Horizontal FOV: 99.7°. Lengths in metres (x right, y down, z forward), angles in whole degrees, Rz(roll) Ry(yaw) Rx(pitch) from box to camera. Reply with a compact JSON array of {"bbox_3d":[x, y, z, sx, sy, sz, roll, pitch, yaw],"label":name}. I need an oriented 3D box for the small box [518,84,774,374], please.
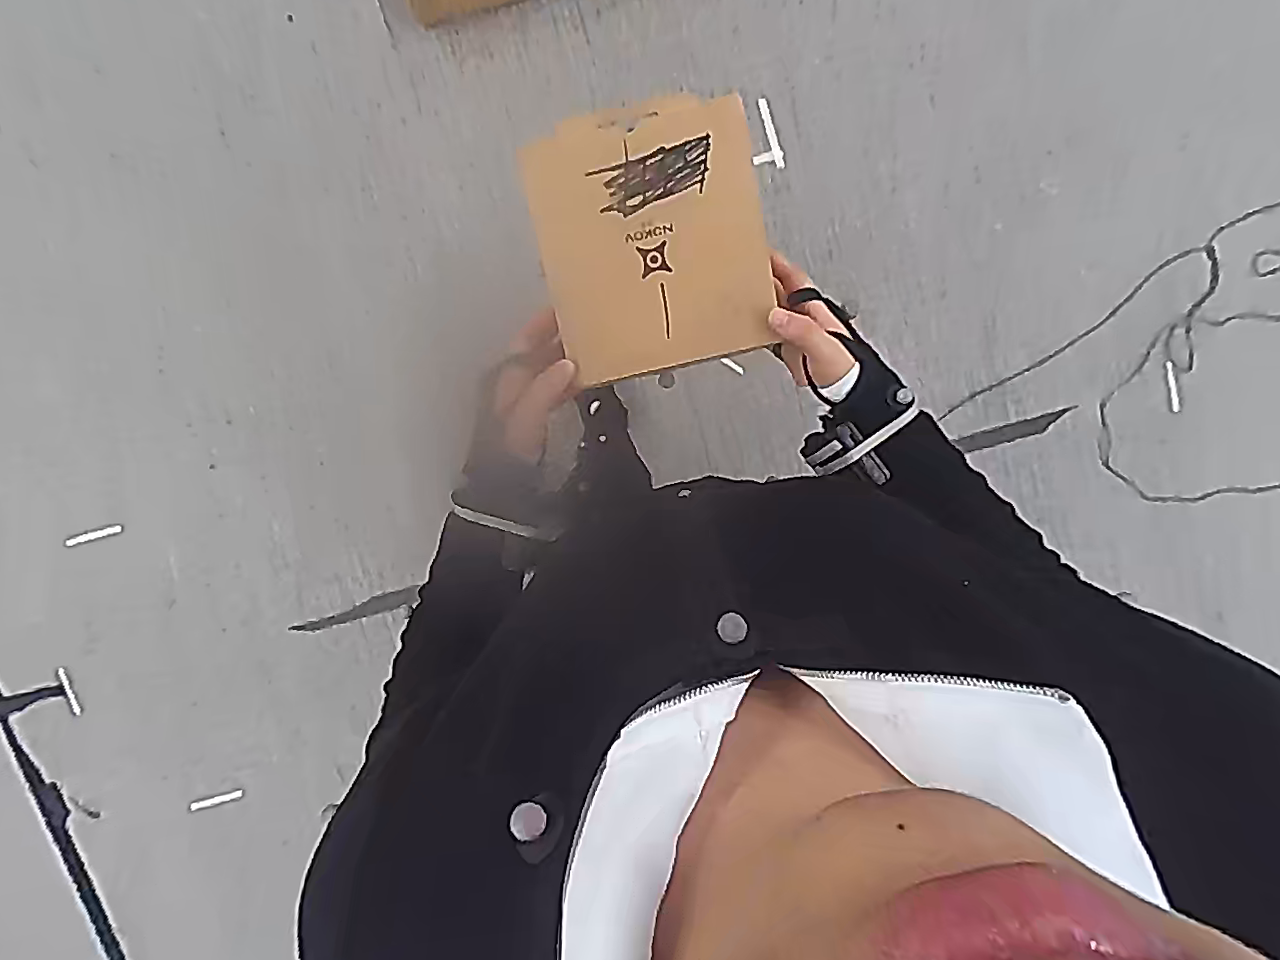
[{"bbox_3d":[0.006,-0.196,0.479,0.168,0.176,0.179,-12,100,3],"label":"small box"}]
